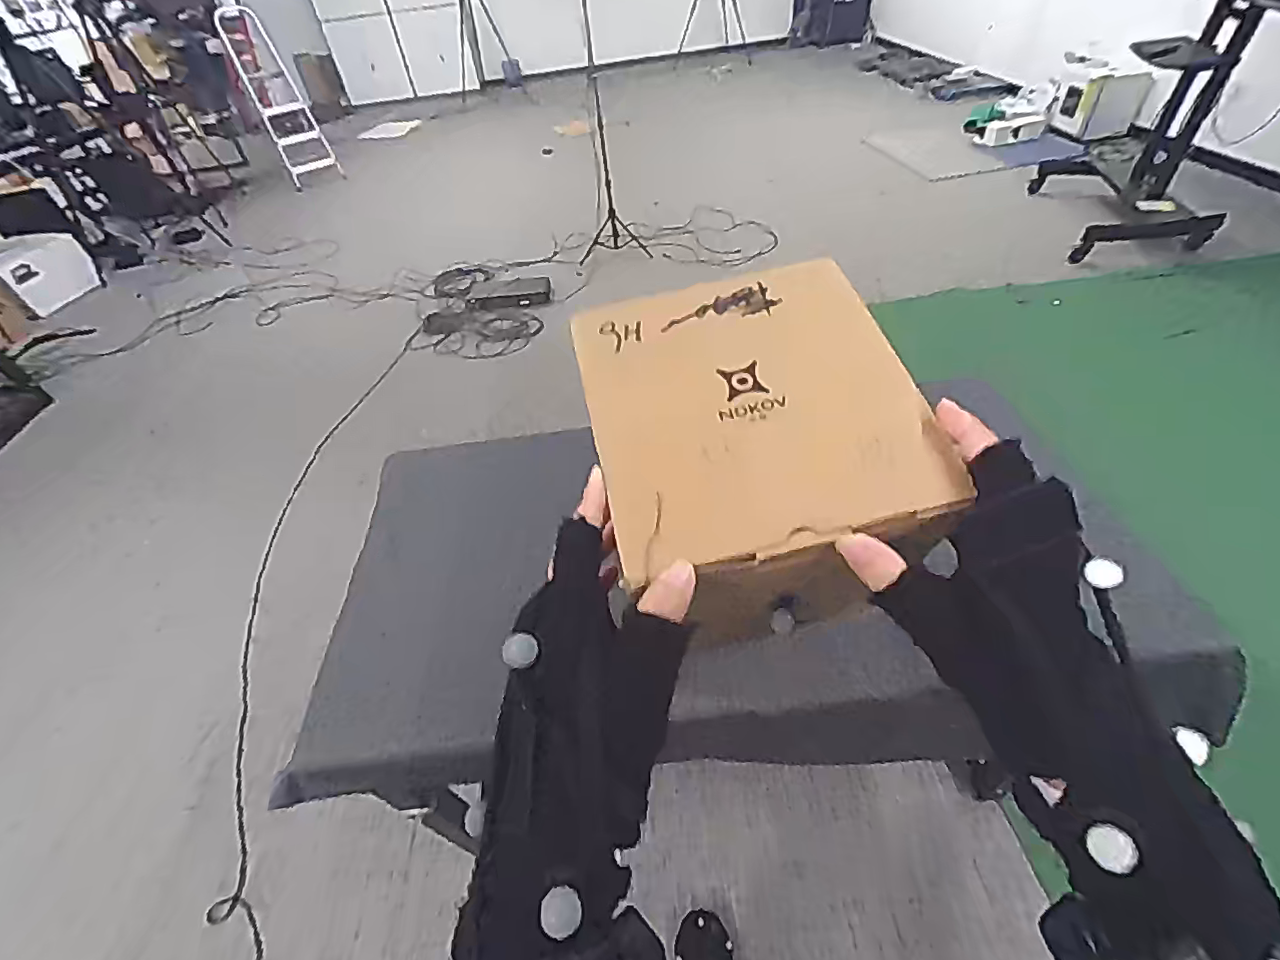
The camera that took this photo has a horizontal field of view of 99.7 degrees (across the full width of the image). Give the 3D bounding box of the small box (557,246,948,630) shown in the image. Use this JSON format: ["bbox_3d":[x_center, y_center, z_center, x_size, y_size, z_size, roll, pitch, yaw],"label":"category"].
[{"bbox_3d":[0.055,-0.011,0.356,0.168,0.176,0.179,-14,61,-1],"label":"small box"}]
